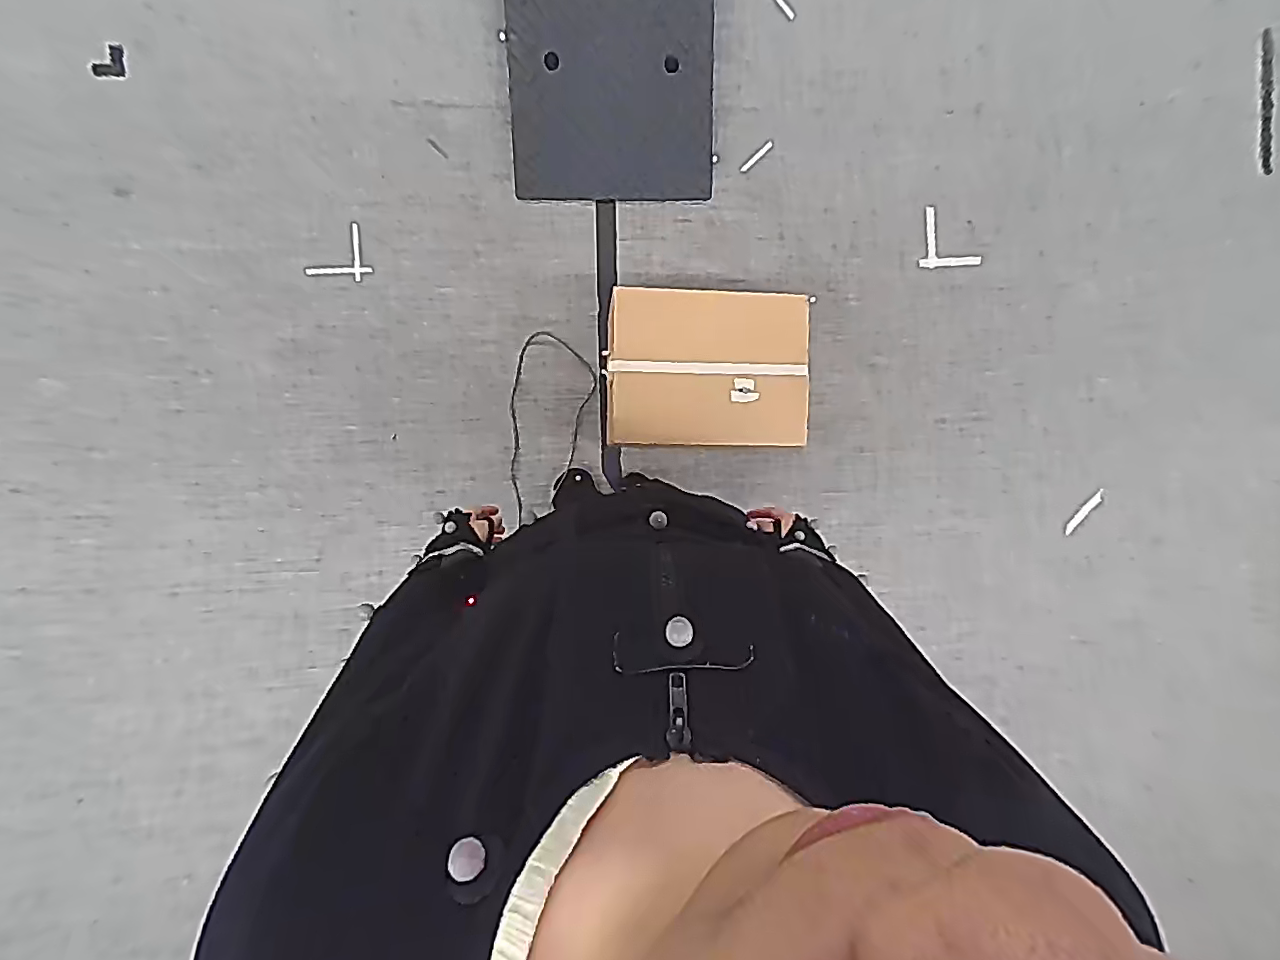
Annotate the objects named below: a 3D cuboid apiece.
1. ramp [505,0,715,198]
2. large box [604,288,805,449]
[{"bbox_3d":[-0.066,-1.194,1.239,0.509,0.206,0.991,-4,94,-6],"label":"ramp"},{"bbox_3d":[0.125,-0.232,1.243,0.408,0.320,0.320,1,92,-6],"label":"large box"}]
